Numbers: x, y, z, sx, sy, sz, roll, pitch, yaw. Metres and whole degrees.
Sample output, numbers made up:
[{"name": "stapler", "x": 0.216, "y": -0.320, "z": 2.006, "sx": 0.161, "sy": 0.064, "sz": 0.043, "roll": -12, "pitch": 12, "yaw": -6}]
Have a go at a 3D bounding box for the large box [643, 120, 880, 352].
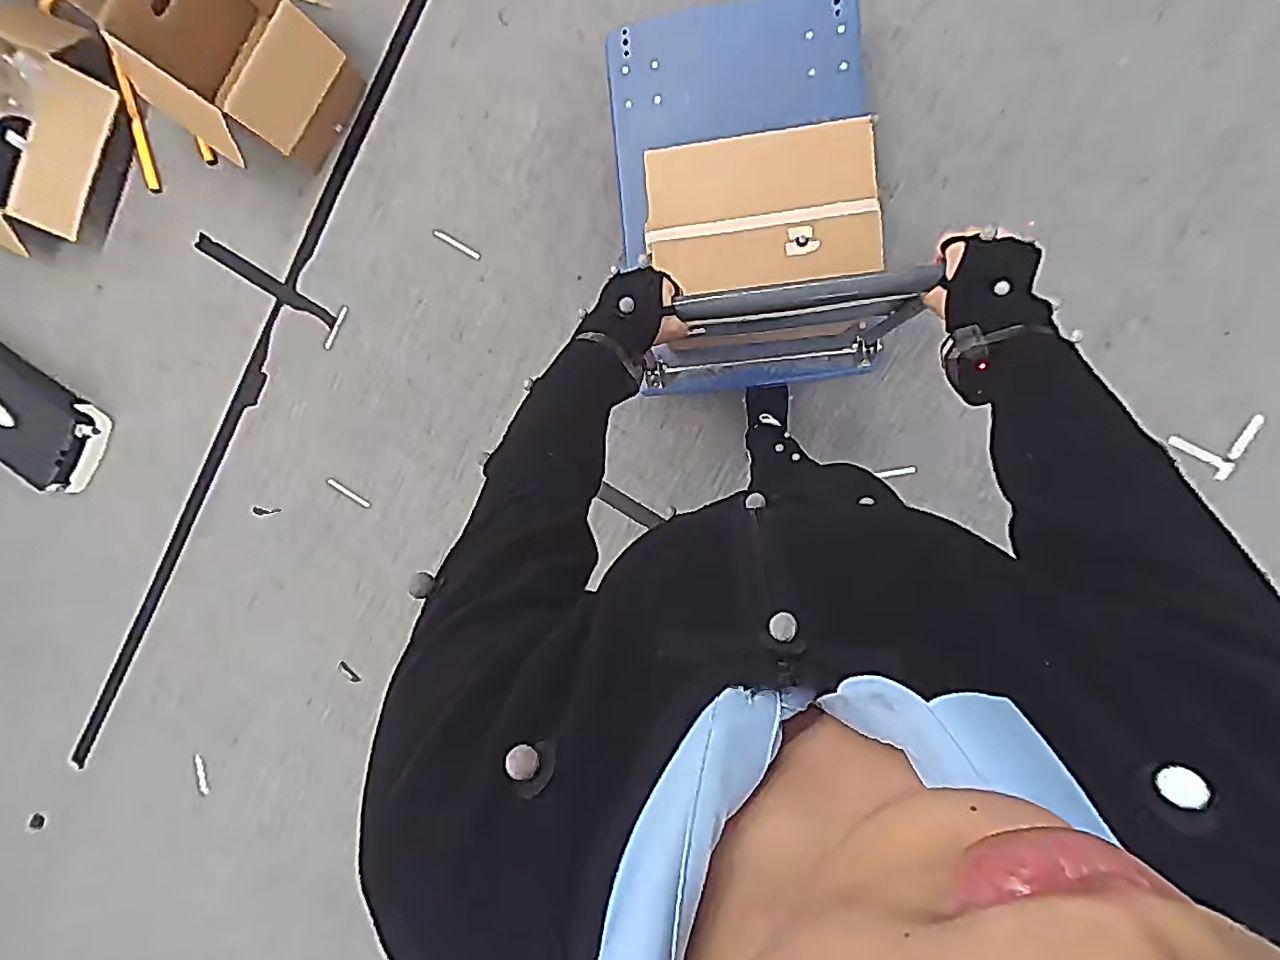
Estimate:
[{"name": "large box", "x": 0.230, "y": -0.467, "z": 1.121, "sx": 0.408, "sy": 0.320, "sz": 0.320, "roll": -5, "pitch": 93, "yaw": 6}]
